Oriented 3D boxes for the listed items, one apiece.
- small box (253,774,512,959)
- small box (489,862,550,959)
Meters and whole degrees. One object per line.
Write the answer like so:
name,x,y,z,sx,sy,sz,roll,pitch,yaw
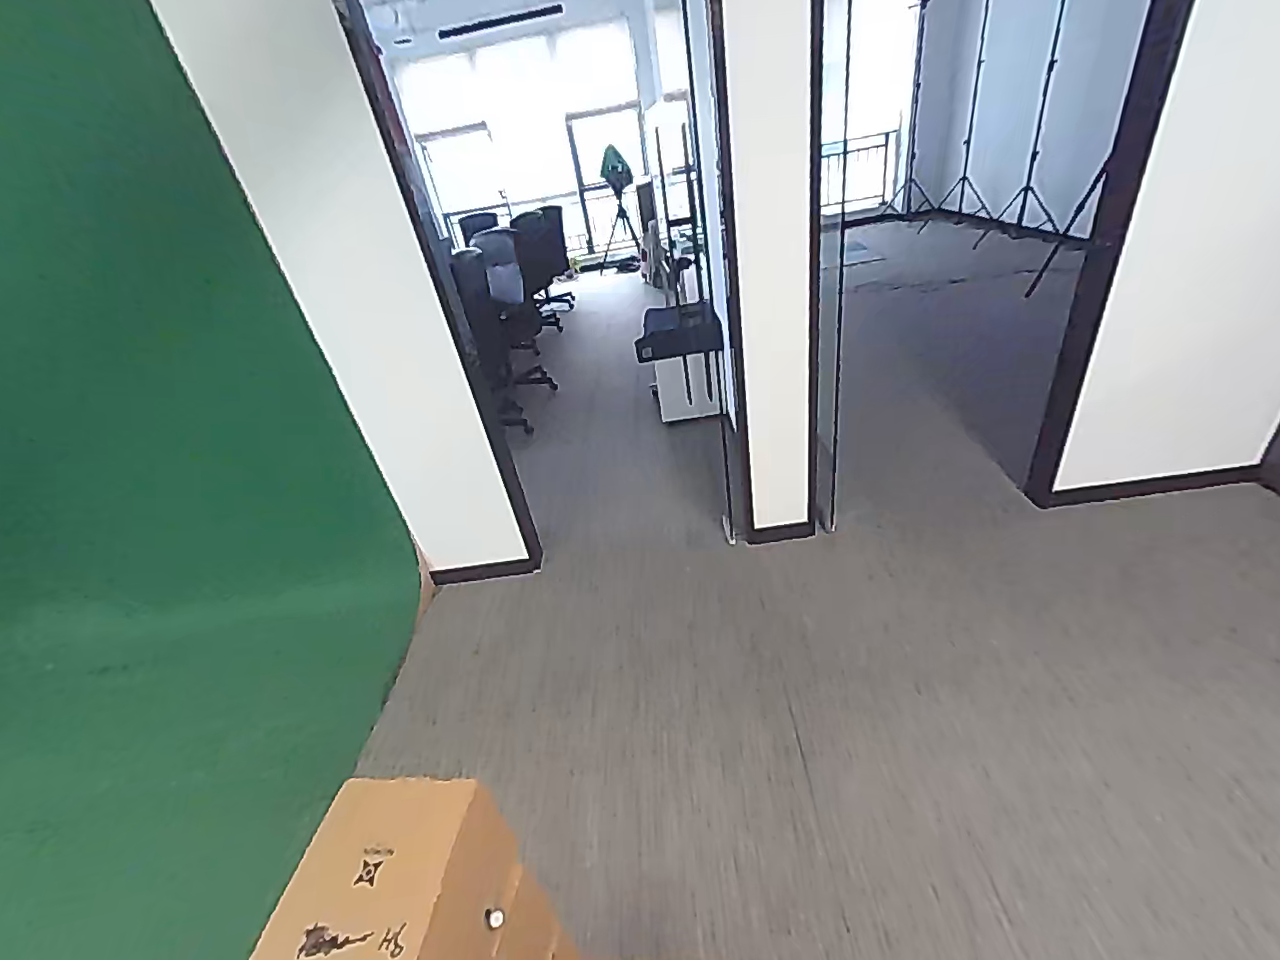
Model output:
small box,-0.255,0.454,0.590,0.168,0.176,0.179,-5,31,10
small box,-0.227,0.596,0.669,0.168,0.176,0.179,-1,31,15
